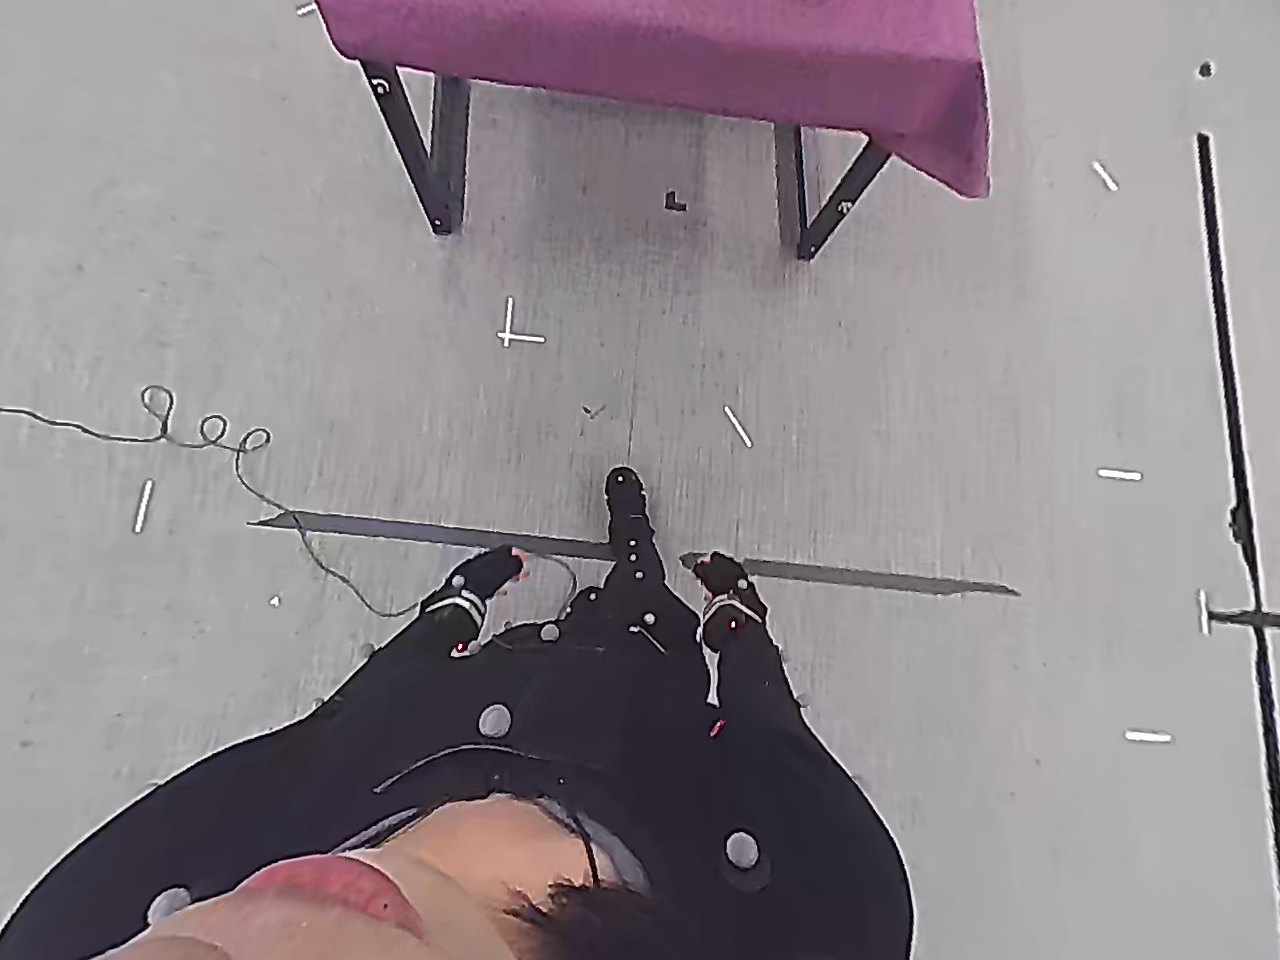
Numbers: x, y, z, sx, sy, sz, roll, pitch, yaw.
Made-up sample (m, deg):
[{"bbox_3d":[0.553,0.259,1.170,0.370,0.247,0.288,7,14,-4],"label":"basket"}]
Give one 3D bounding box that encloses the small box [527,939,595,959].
[{"bbox_3d":[-0.187,1.200,1.230,0.168,0.176,0.179,4,79,-5],"label":"small box"}]
